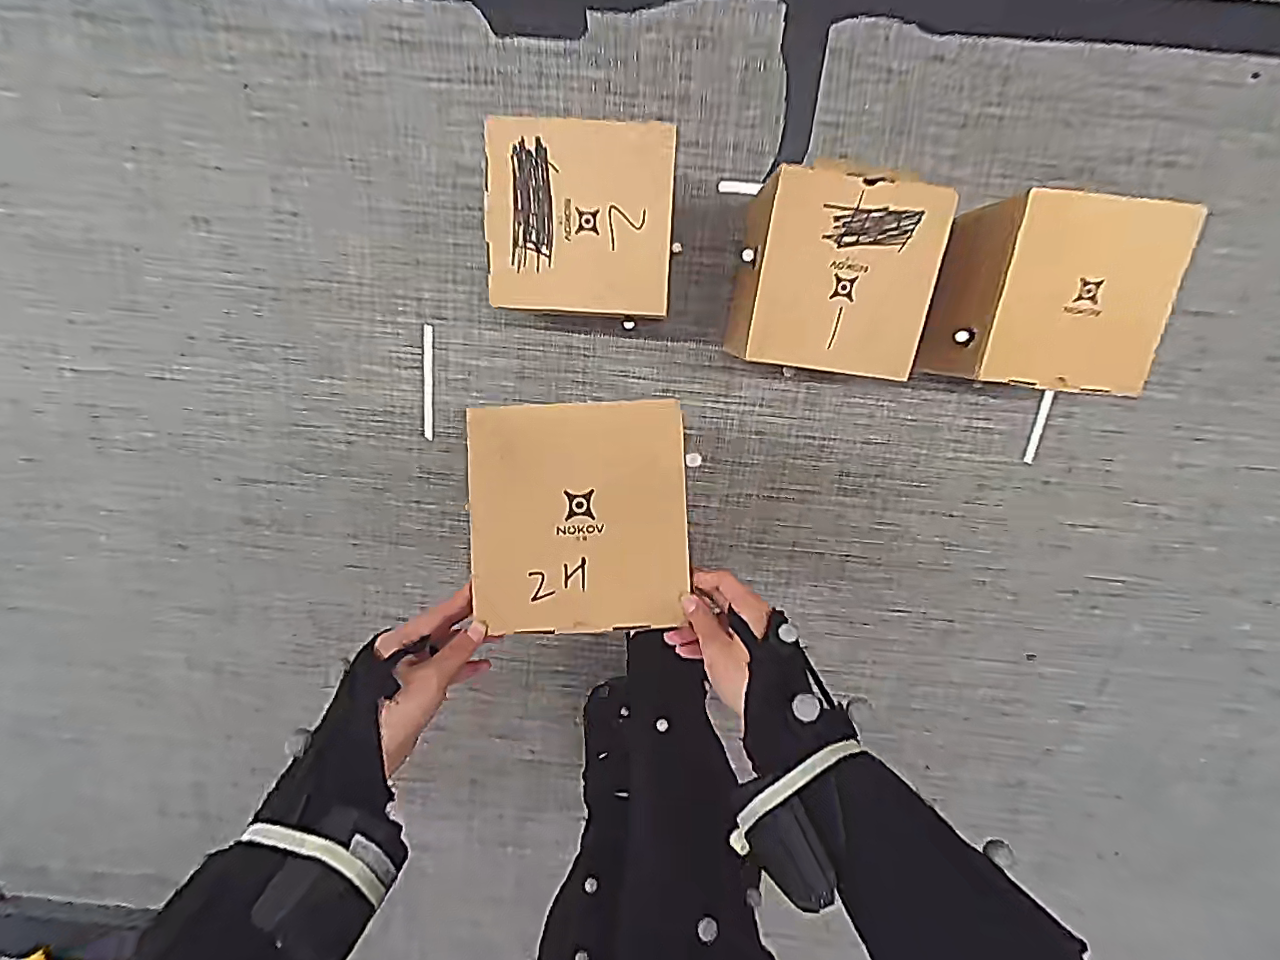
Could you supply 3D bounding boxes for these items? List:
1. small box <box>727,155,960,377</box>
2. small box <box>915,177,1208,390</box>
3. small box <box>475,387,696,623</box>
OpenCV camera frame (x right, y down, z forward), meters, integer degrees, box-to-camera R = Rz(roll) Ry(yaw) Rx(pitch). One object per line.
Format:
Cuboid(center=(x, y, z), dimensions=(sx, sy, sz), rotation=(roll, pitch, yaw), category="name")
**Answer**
Cuboid(center=(0.196, -0.217, 0.580), dimensions=(0.168, 0.176, 0.179), rotation=(8, 107, -1), category="small box")
Cuboid(center=(0.423, -0.201, 0.584), dimensions=(0.168, 0.176, 0.179), rotation=(6, 106, -1), category="small box")
Cuboid(center=(-0.044, 0.021, 0.488), dimensions=(0.168, 0.176, 0.179), rotation=(-2, 89, -1), category="small box")
